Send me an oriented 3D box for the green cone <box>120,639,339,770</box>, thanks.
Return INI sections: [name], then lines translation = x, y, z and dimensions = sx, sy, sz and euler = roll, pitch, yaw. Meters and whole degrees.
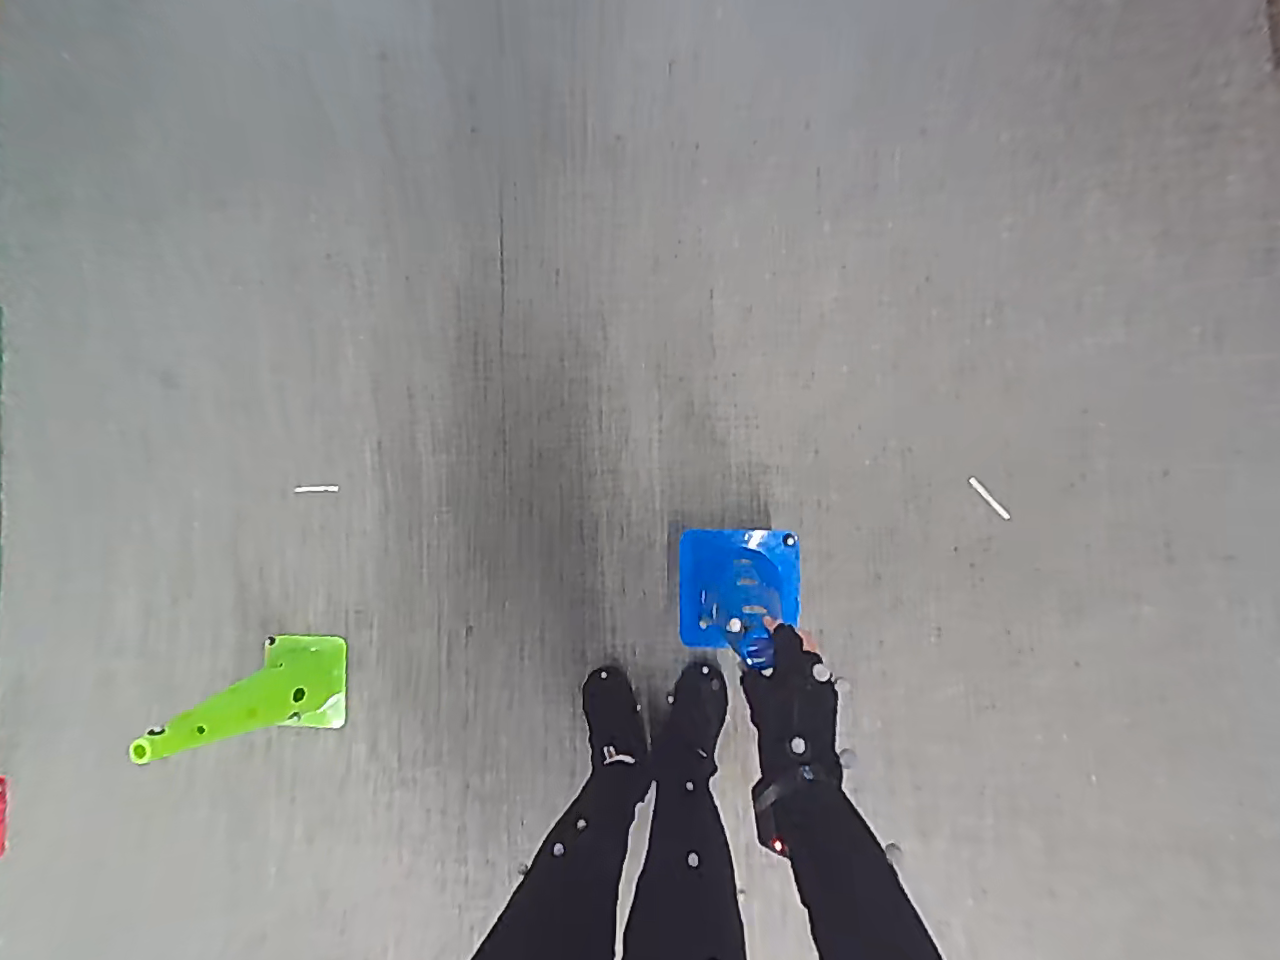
[green cone]
translation = -0.782, 0.447, 1.026
dimensions = 0.202, 0.368, 0.200
euler = -2, 88, 7
